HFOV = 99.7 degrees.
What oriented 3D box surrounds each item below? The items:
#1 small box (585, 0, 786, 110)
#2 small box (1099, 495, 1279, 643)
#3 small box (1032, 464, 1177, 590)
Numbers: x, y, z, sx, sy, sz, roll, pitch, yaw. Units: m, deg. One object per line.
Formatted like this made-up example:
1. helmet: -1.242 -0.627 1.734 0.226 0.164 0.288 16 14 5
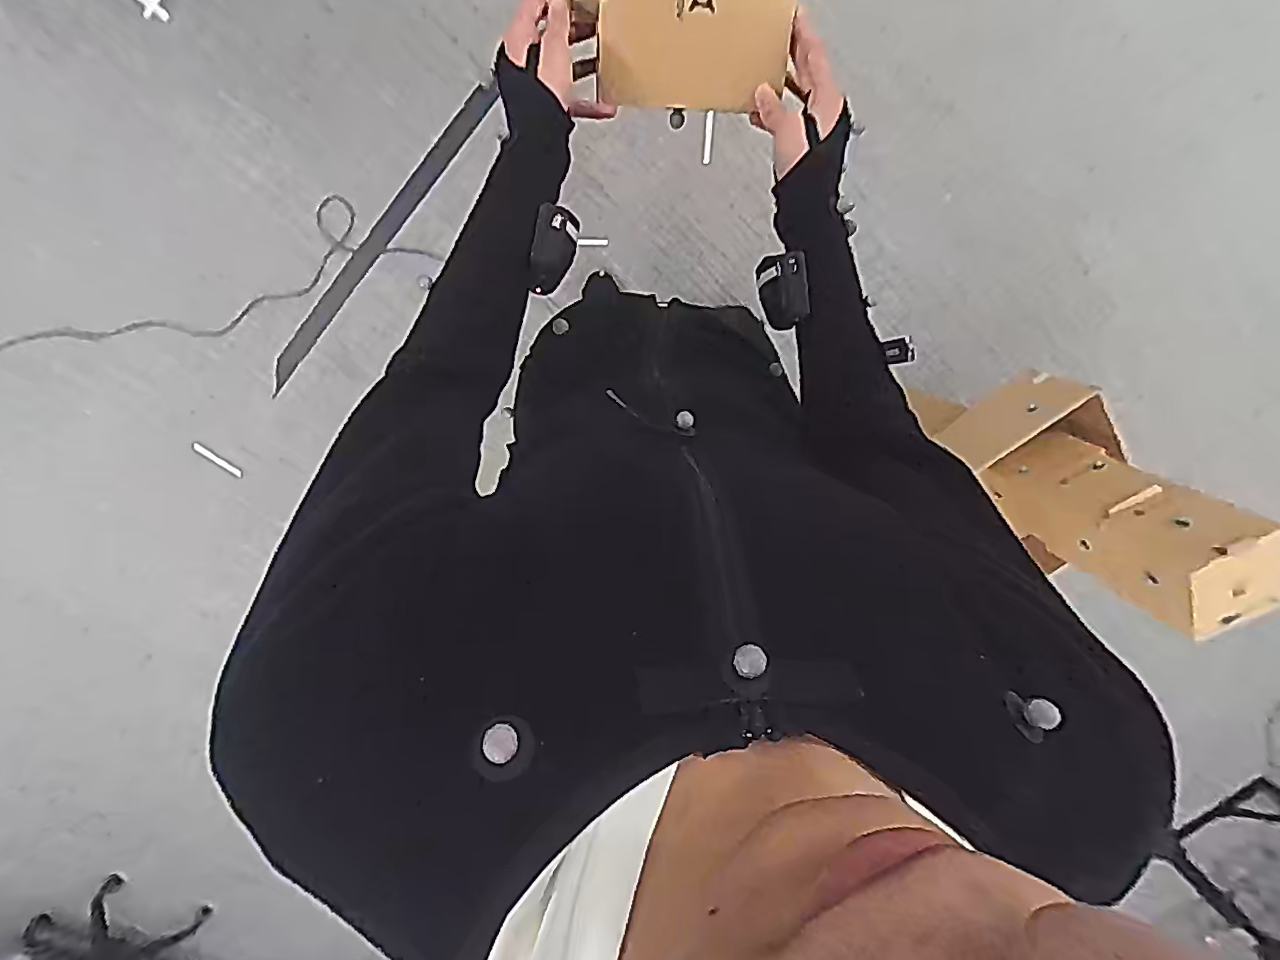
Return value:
1. small box: 0.039 -0.465 0.523 0.179 0.176 0.168 1 126 -1
2. small box: 0.970 0.146 0.965 0.168 0.176 0.179 -27 113 5
3. small box: 0.958 0.085 1.117 0.168 0.176 0.179 -30 114 7
